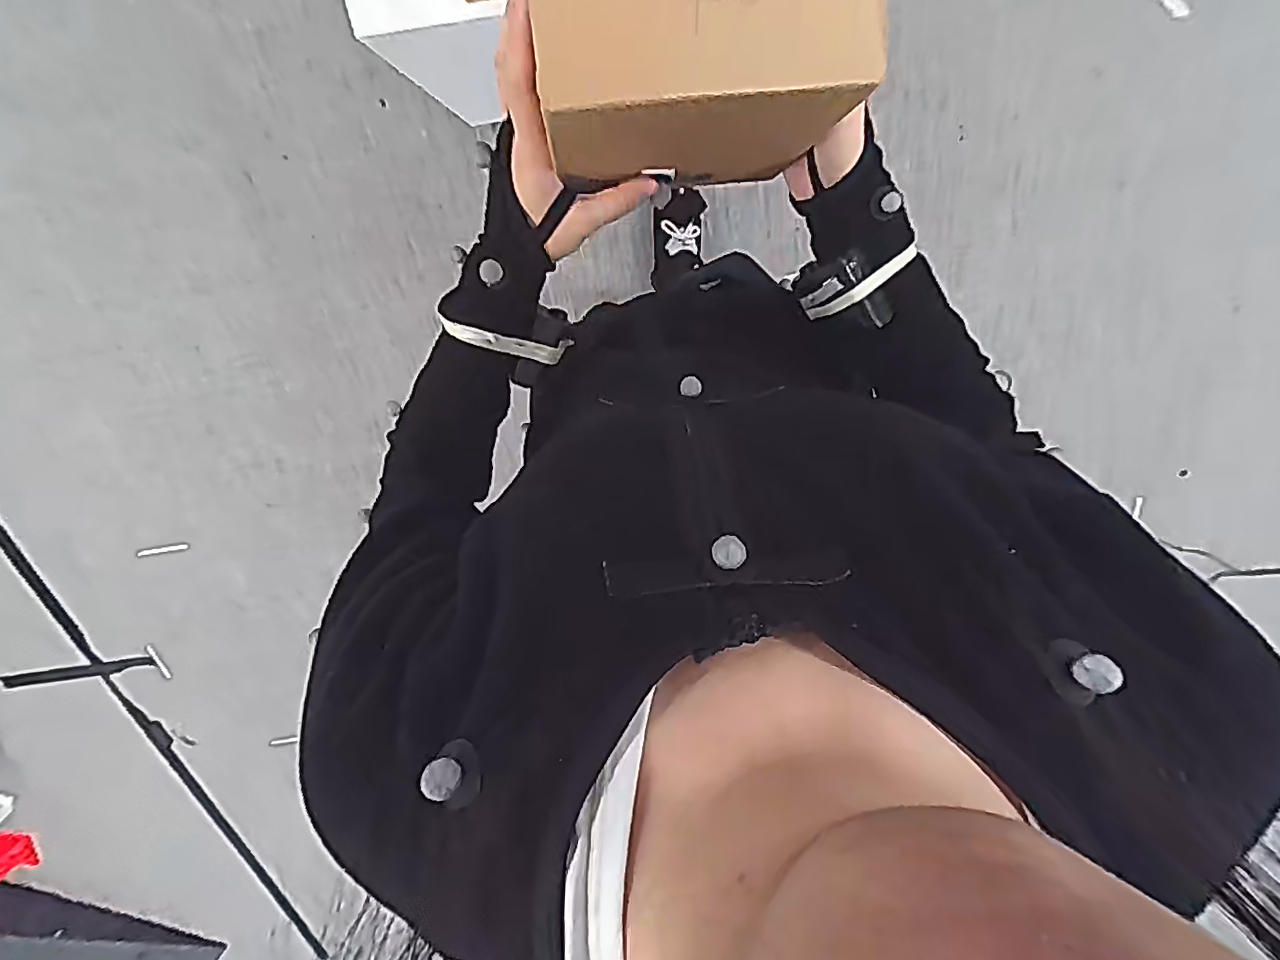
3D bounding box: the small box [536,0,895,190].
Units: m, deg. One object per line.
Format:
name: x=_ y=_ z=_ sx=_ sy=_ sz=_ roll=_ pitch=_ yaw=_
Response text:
small box: x=0.023 y=-0.287 z=0.306 sx=0.168 sy=0.176 sz=0.179 roll=-7 pitch=106 yaw=-3
